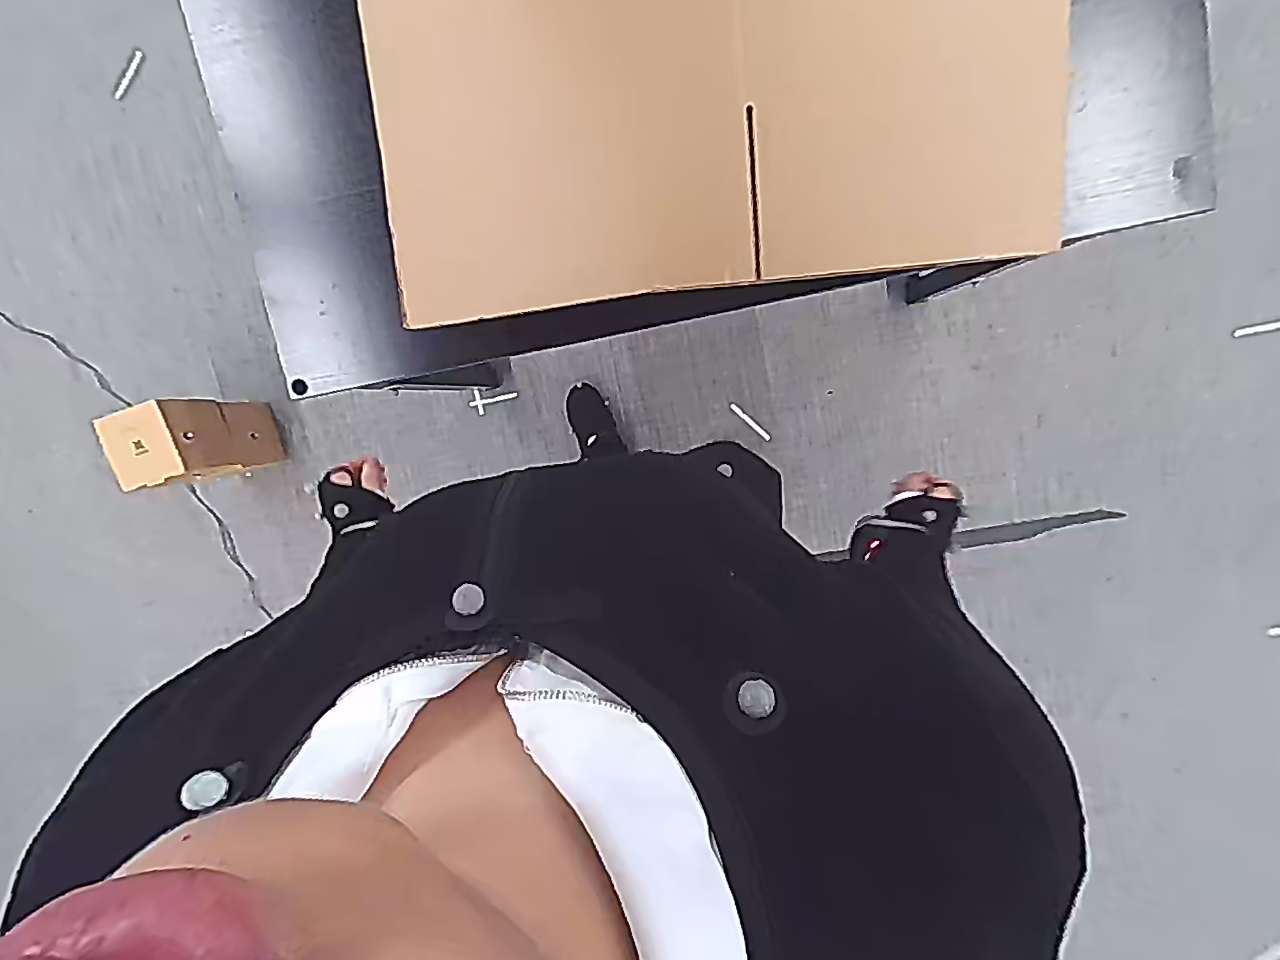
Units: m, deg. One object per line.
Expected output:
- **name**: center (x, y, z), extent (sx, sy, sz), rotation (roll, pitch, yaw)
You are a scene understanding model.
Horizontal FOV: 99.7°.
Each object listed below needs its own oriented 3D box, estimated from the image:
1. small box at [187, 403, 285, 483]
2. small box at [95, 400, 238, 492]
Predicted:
- **small box**: center (-1.110, -0.103, 1.460), extent (0.168, 0.176, 0.179), rotation (-14, 98, 6)
- **small box**: center (-1.123, -0.086, 1.299), extent (0.168, 0.176, 0.179), rotation (-17, 95, 5)
